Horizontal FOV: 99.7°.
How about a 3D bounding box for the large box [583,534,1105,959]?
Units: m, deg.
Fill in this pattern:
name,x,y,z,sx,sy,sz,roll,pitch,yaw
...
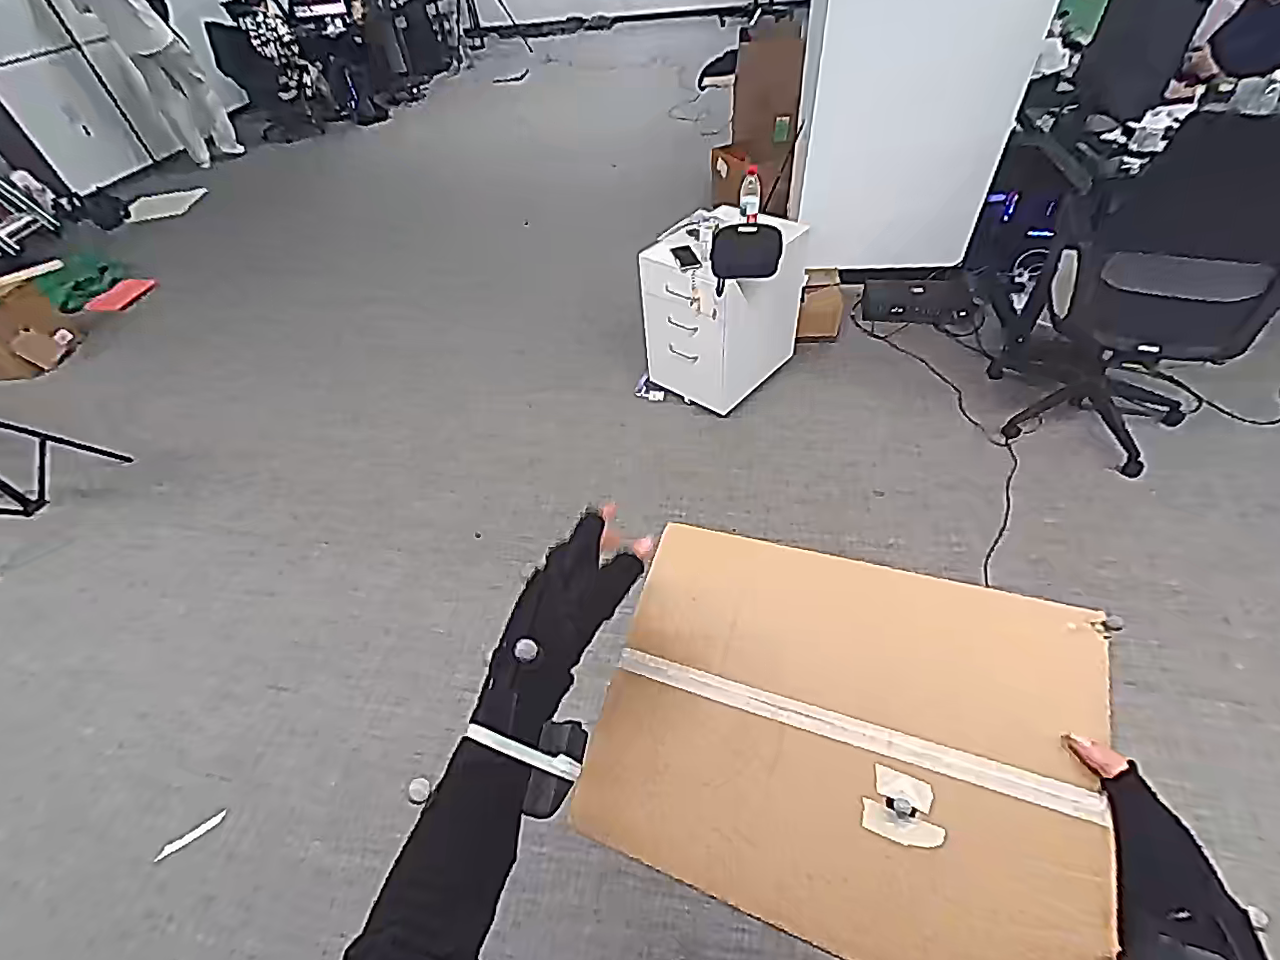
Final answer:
name,x,y,z,sx,sy,sz,roll,pitch,yaw
large box,0.210,0.293,0.611,0.408,0.320,0.320,10,66,23
